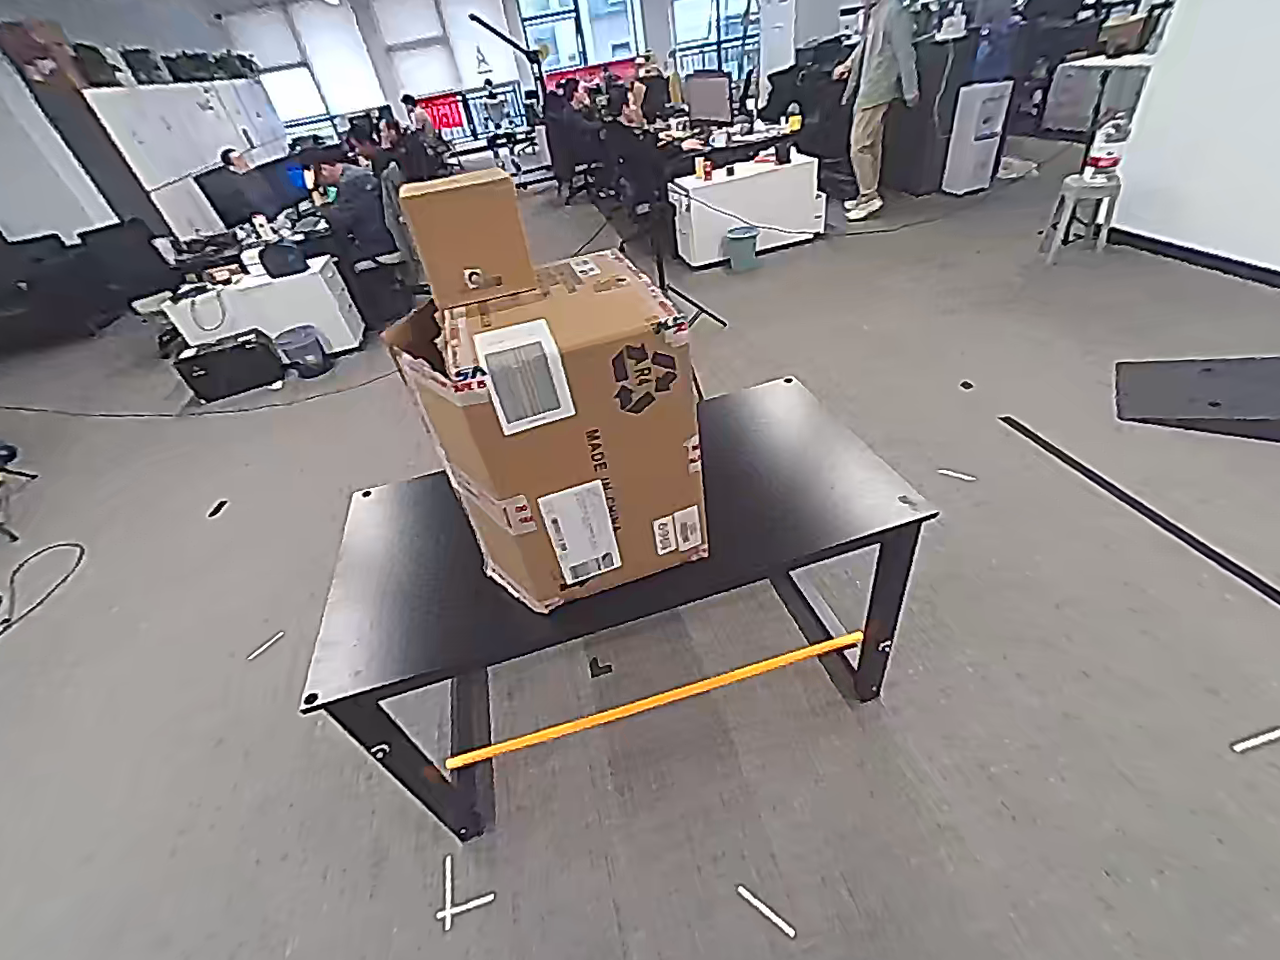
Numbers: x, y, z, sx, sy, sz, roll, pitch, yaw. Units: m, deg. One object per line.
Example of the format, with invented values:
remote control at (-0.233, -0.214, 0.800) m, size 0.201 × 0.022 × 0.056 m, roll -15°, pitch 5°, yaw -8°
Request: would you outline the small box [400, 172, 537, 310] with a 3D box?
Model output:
small box at (-0.282, -0.398, 0.899) m, size 0.168 × 0.176 × 0.179 m, roll -18°, pitch 38°, yaw -11°
